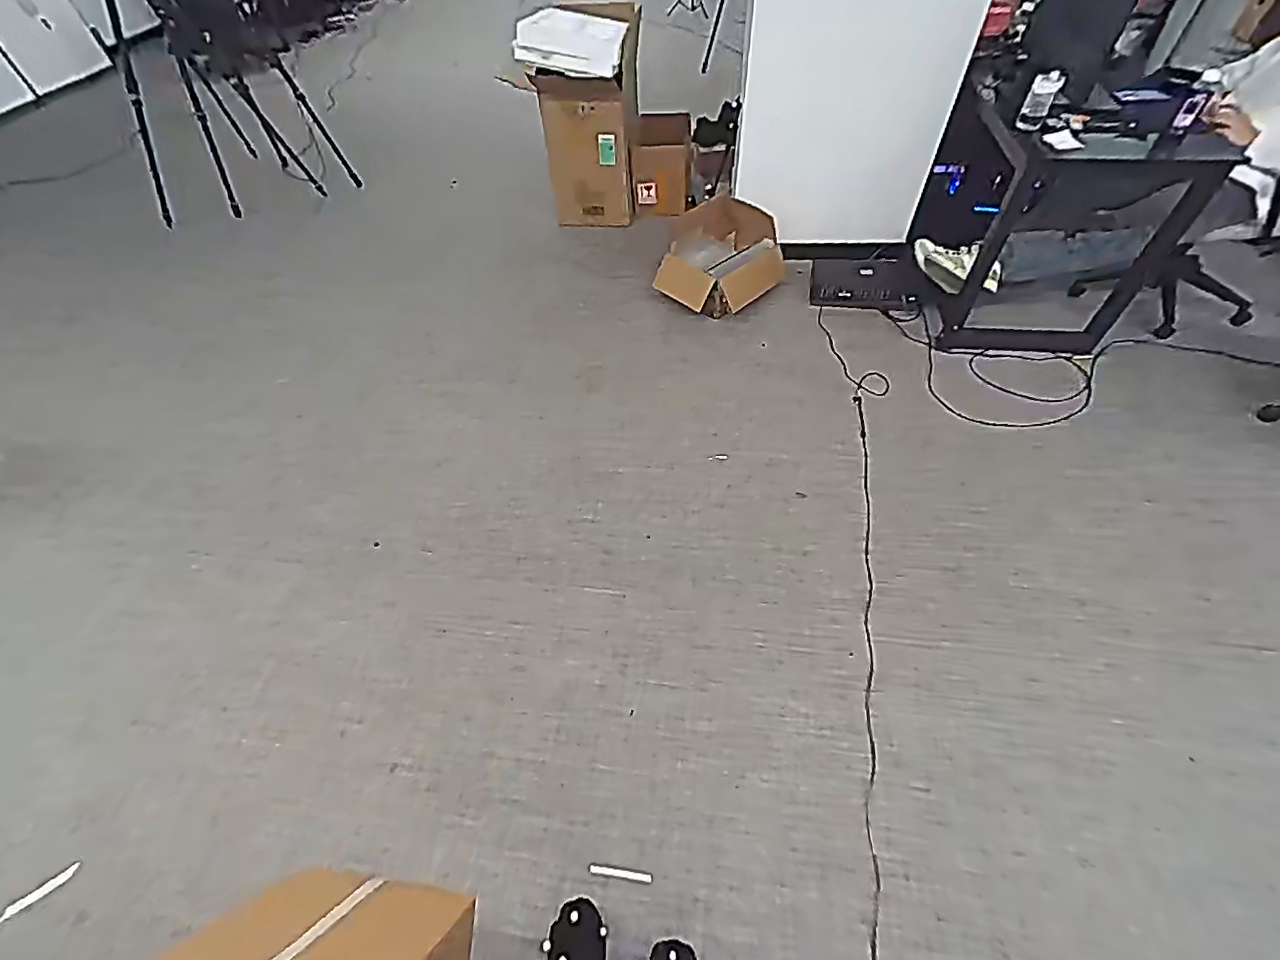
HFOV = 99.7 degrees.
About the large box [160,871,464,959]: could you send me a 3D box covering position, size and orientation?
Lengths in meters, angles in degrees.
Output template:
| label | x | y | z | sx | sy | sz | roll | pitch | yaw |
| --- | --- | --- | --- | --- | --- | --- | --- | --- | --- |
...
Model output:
| label | x | y | z | sx | sy | sz | roll | pitch | yaw |
| --- | --- | --- | --- | --- | --- | --- | --- | --- | --- |
| large box | -0.451 | 0.747 | 0.632 | 0.320 | 0.408 | 0.320 | 0 | 79 | 9 |
